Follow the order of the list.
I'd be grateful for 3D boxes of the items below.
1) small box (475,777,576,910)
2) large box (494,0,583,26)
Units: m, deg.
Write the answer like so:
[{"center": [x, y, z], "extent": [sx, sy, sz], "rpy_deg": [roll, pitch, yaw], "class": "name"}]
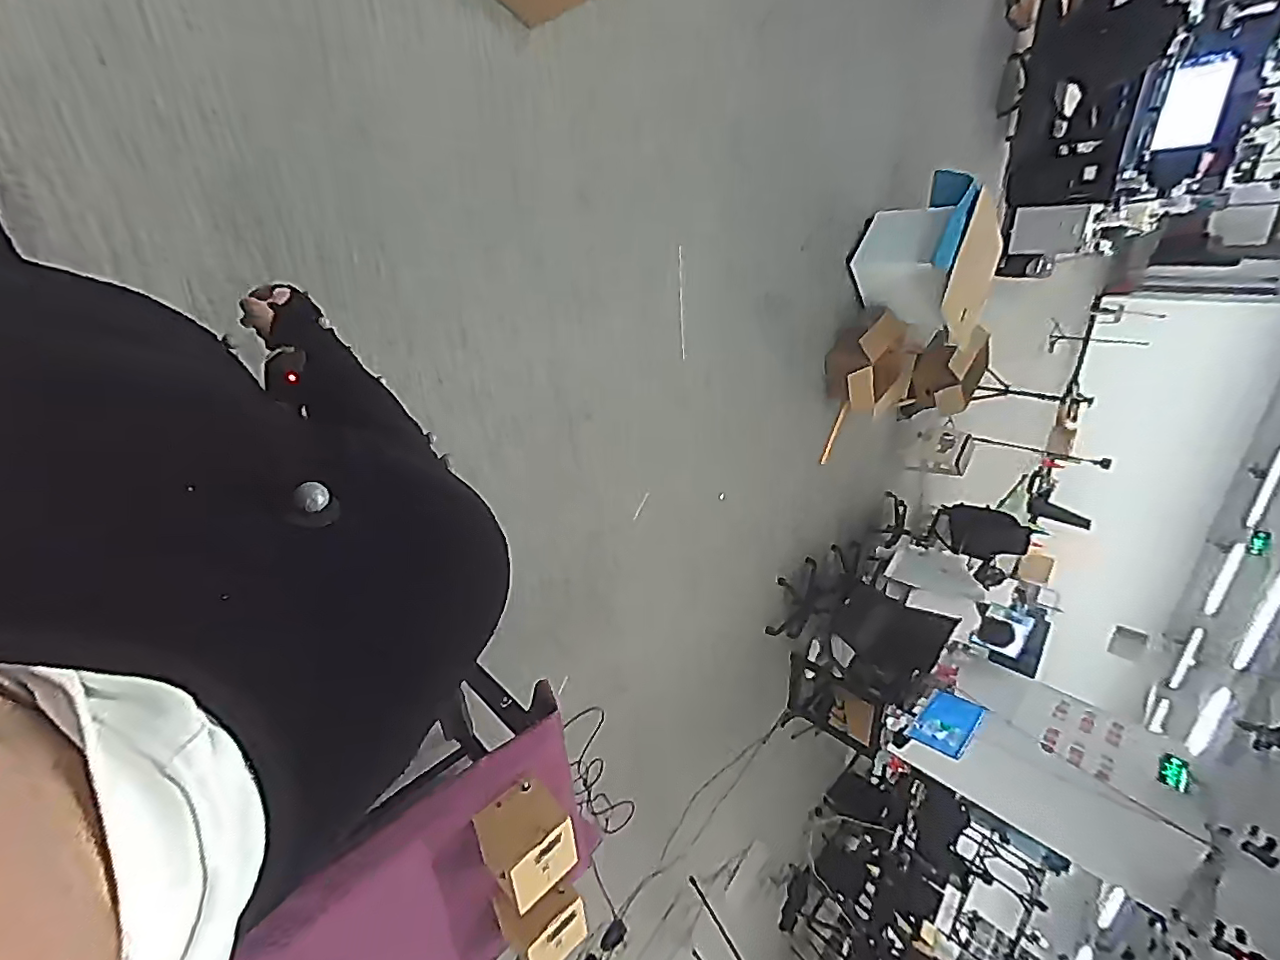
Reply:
[{"center": [-0.274, 0.852, 1.293], "extent": [0.168, 0.176, 0.179], "rpy_deg": [-25, 123, -38], "class": "small box"}, {"center": [-0.324, -1.440, 1.325], "extent": [0.408, 0.320, 0.320], "rpy_deg": [6, 101, -47], "class": "large box"}]
